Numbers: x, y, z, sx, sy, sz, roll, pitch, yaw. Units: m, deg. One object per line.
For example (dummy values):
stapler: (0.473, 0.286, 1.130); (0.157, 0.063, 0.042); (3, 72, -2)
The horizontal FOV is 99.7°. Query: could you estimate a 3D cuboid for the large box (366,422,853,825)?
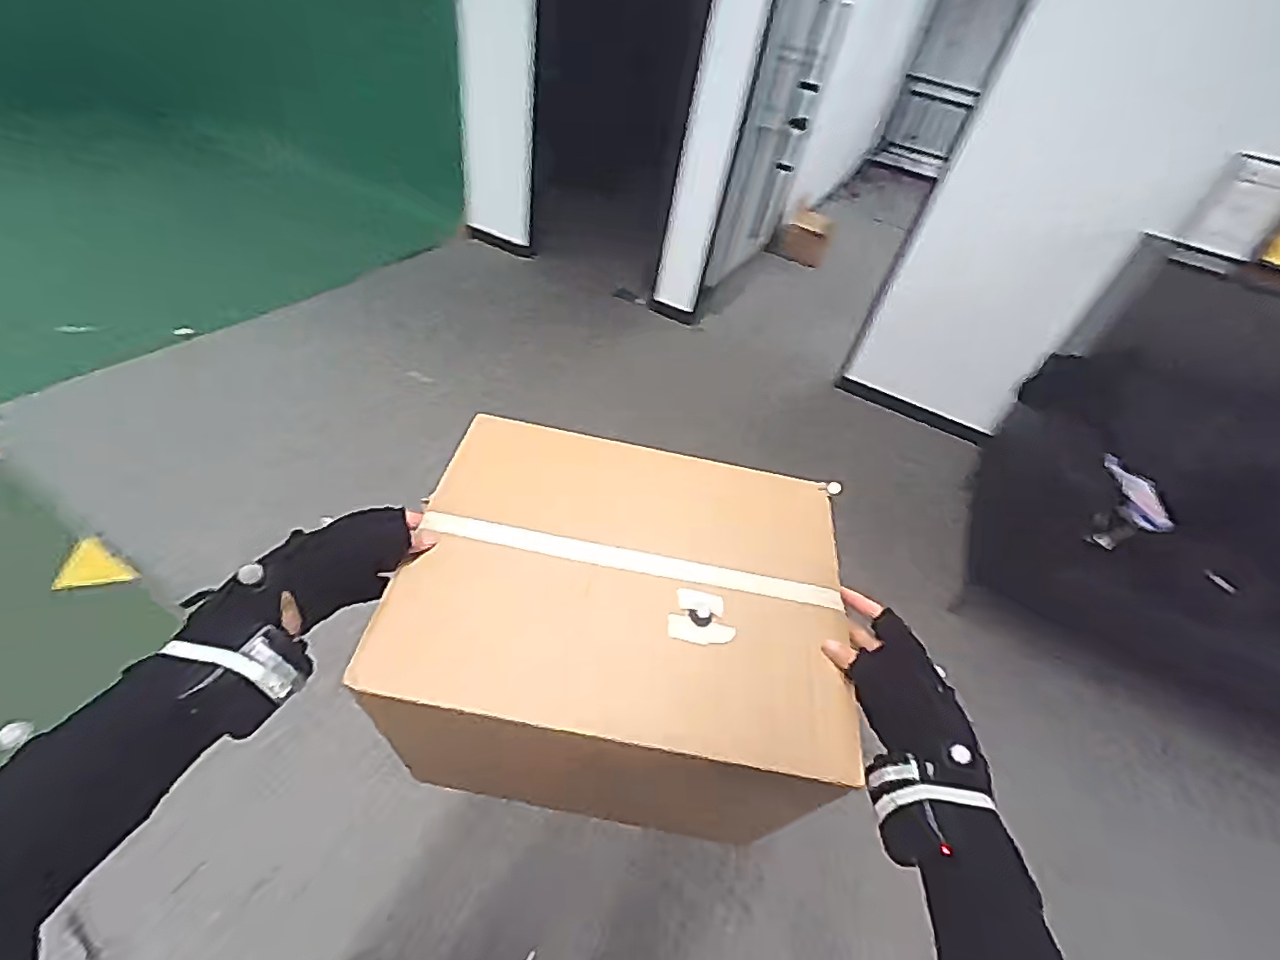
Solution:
large box: (-0.030, 0.176, 0.636); (0.408, 0.320, 0.320); (11, 49, -2)
